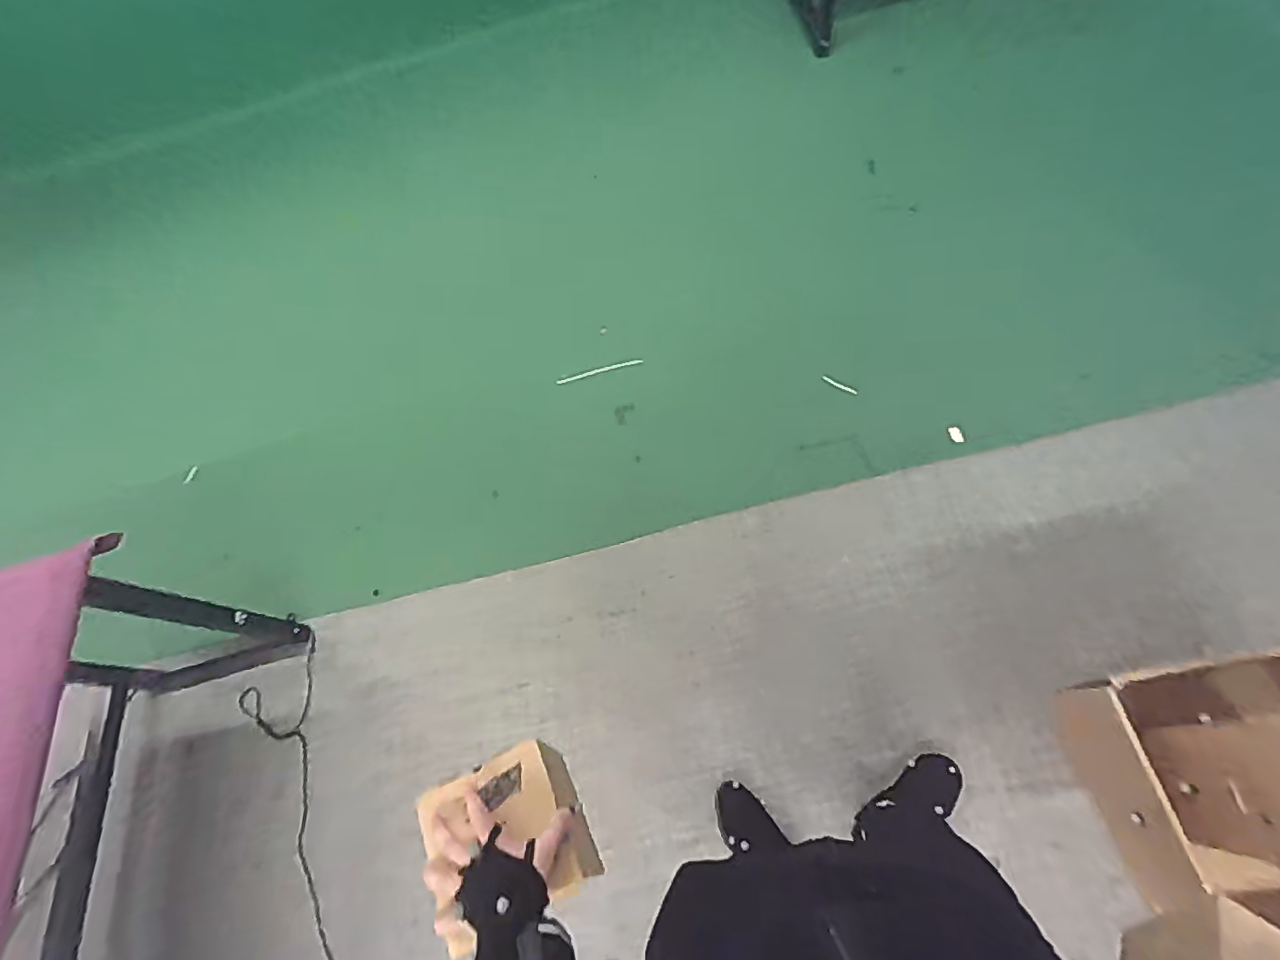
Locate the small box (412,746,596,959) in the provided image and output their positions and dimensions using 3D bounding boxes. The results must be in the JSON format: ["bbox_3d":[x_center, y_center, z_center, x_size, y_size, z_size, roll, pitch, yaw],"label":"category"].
[{"bbox_3d":[-0.174,0.491,0.722,0.168,0.176,0.179,-26,58,-11],"label":"small box"}]
